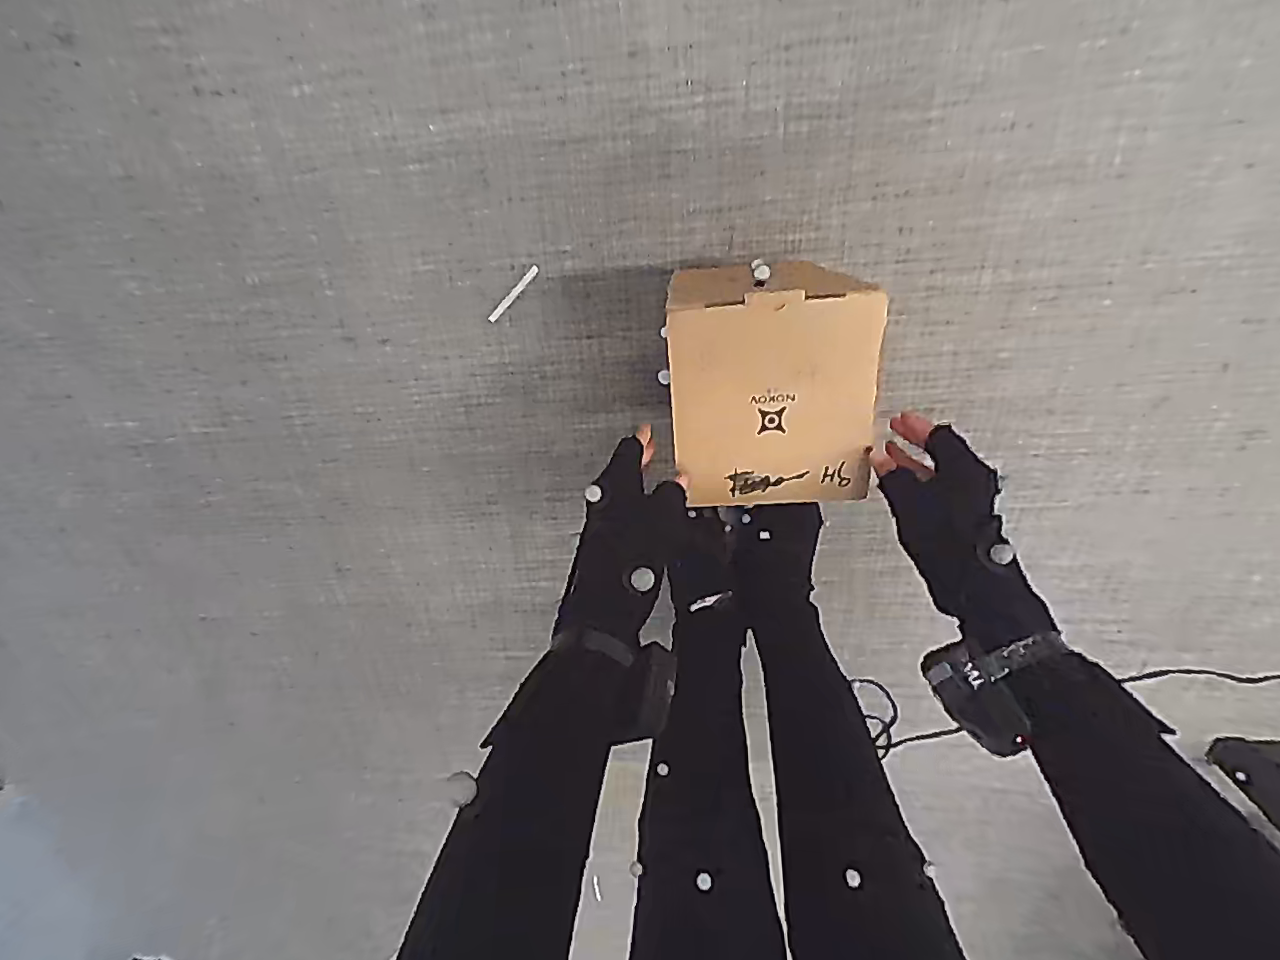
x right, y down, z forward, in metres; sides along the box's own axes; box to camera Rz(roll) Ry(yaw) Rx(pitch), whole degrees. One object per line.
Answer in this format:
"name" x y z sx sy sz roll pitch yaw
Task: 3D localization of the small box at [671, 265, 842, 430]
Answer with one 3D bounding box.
"small box" 0.132 -0.167 0.664 0.179 0.176 0.168 -2 116 6
